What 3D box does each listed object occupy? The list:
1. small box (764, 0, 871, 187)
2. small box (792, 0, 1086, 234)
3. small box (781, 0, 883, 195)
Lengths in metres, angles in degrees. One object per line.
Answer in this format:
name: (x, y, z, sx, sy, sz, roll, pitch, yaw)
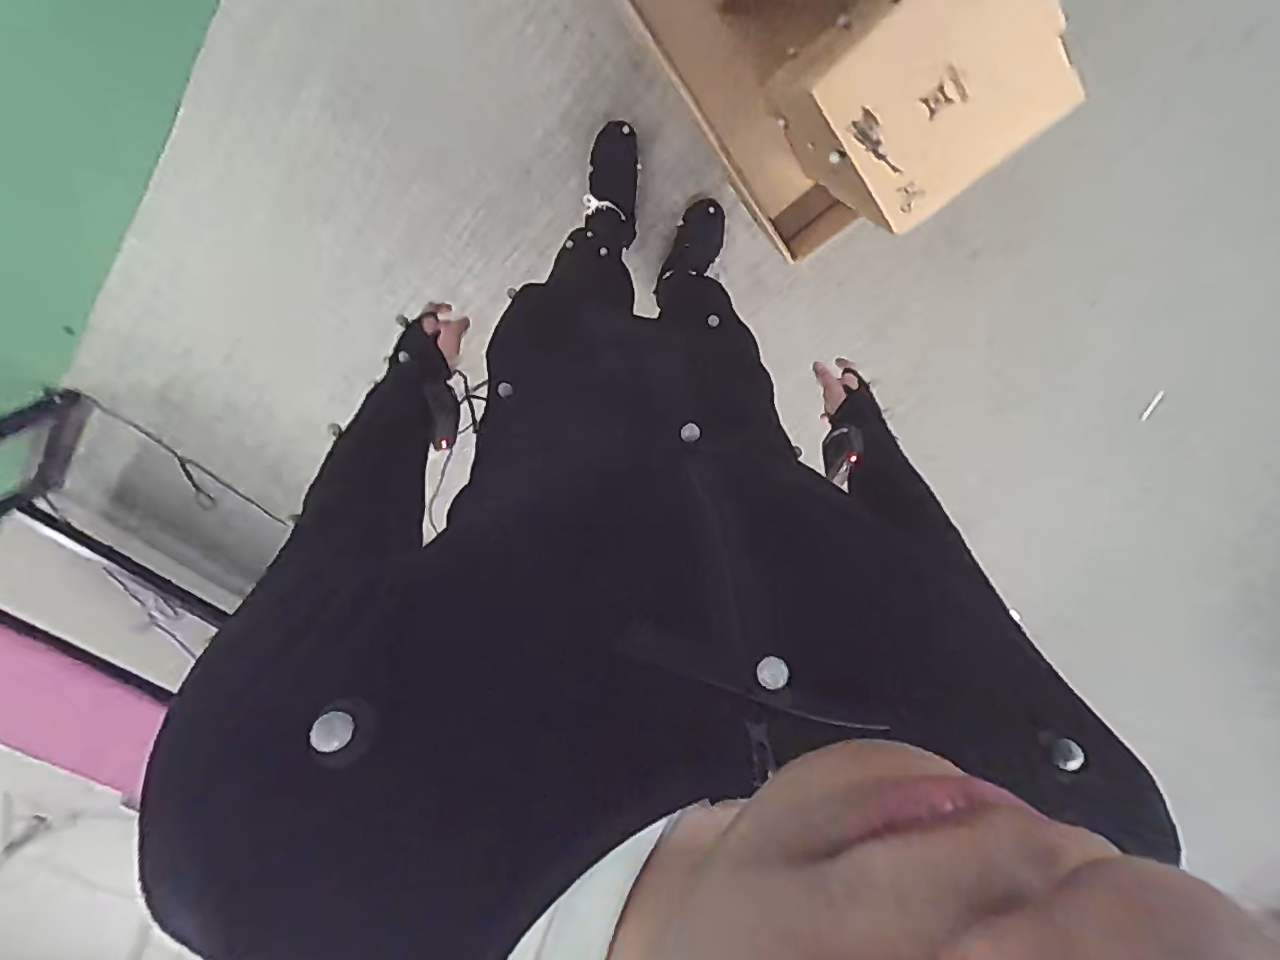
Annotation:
small box: (0.304, -0.575, 0.802, 0.179, 0.176, 0.168, -30, 117, 23)
small box: (0.275, -0.382, 0.536, 0.179, 0.176, 0.168, -34, 114, 24)
small box: (0.292, -0.476, 0.671, 0.179, 0.176, 0.168, -34, 115, 24)
